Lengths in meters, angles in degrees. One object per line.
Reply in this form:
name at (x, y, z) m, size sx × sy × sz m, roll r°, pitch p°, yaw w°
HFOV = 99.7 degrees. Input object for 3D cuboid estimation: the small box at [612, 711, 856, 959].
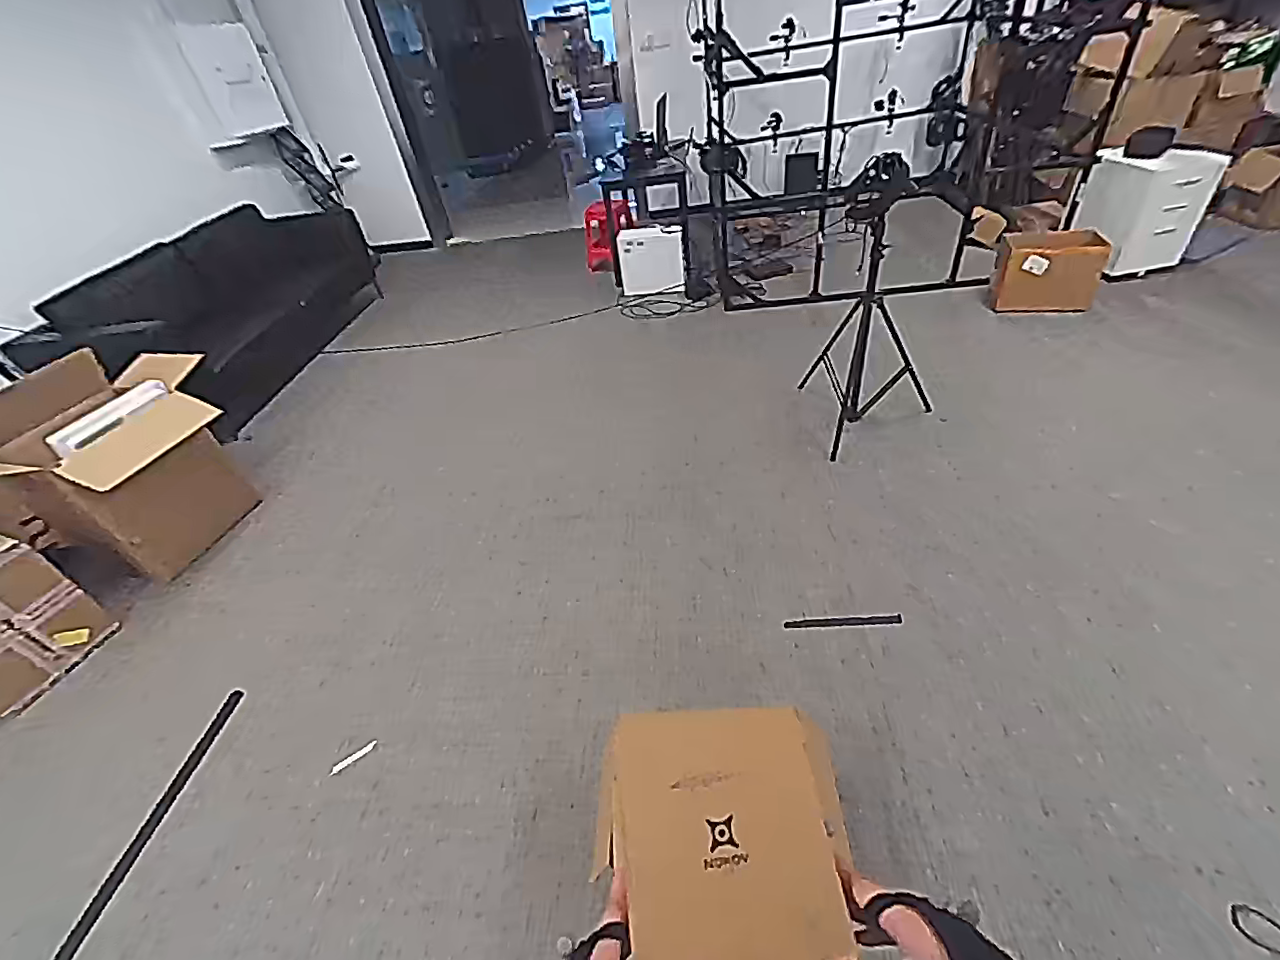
small box at (0.073, 0.329, 0.494) m, size 0.168 × 0.176 × 0.179 m, roll -9°, pitch 55°, yaw 0°
